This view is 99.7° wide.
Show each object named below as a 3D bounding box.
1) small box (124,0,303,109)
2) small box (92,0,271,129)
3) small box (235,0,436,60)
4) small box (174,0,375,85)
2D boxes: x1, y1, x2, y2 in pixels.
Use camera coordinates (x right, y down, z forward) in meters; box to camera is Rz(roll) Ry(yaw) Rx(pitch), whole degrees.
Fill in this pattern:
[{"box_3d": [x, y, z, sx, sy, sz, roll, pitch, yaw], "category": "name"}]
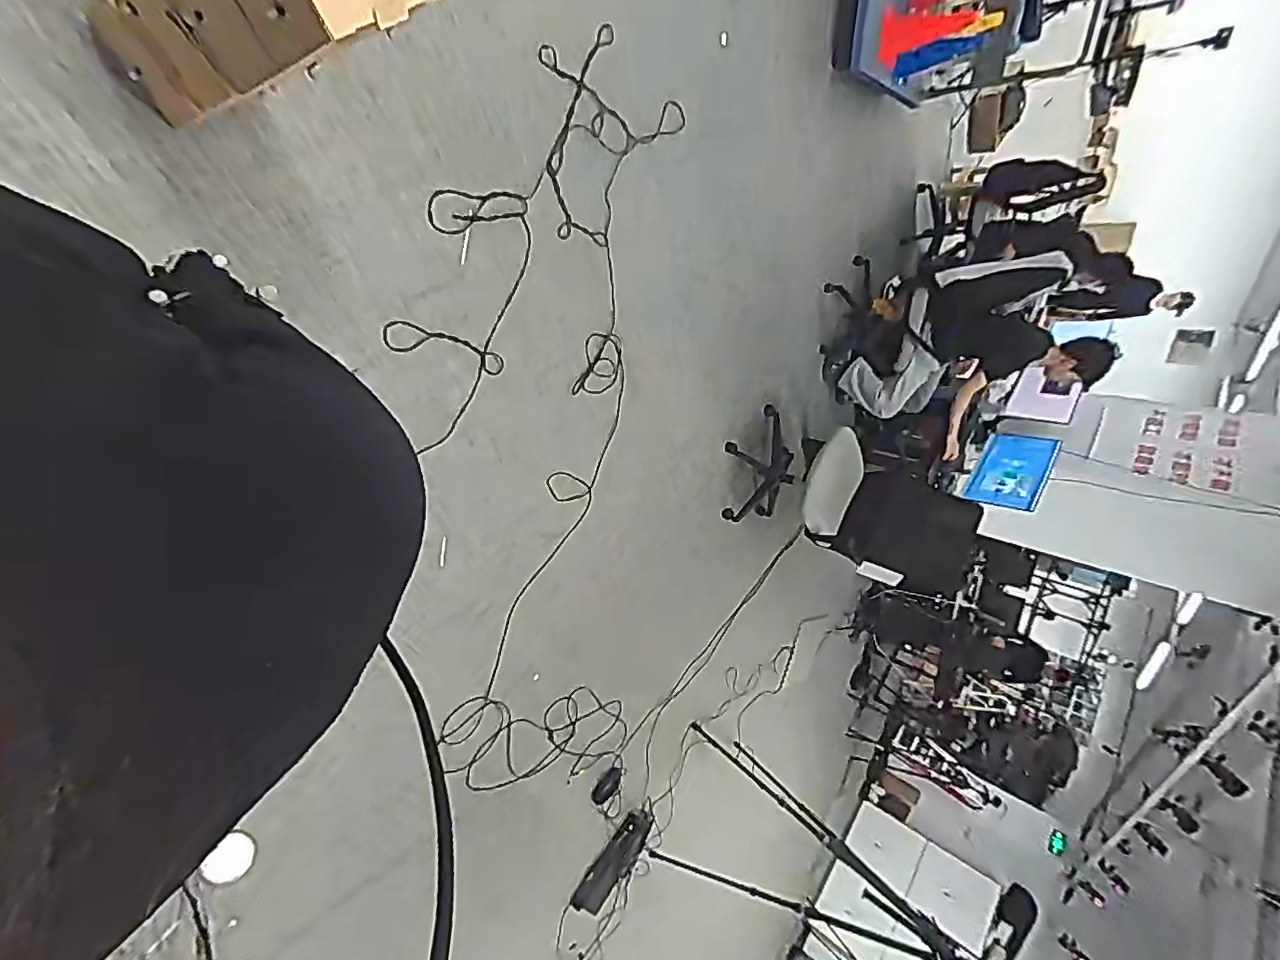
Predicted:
[{"box_3d": [-0.623, -0.687, 0.808, 0.179, 0.176, 0.168, -51, 138, -26], "category": "small box"}, {"box_3d": [-0.753, -0.720, 0.903, 0.179, 0.176, 0.168, -51, 137, -24], "category": "small box"}, {"box_3d": [-0.373, -0.610, 0.612, 0.168, 0.176, 0.179, -51, 137, -26], "category": "small box"}, {"box_3d": [-0.498, -0.650, 0.709, 0.168, 0.176, 0.179, -50, 138, -26], "category": "small box"}]
